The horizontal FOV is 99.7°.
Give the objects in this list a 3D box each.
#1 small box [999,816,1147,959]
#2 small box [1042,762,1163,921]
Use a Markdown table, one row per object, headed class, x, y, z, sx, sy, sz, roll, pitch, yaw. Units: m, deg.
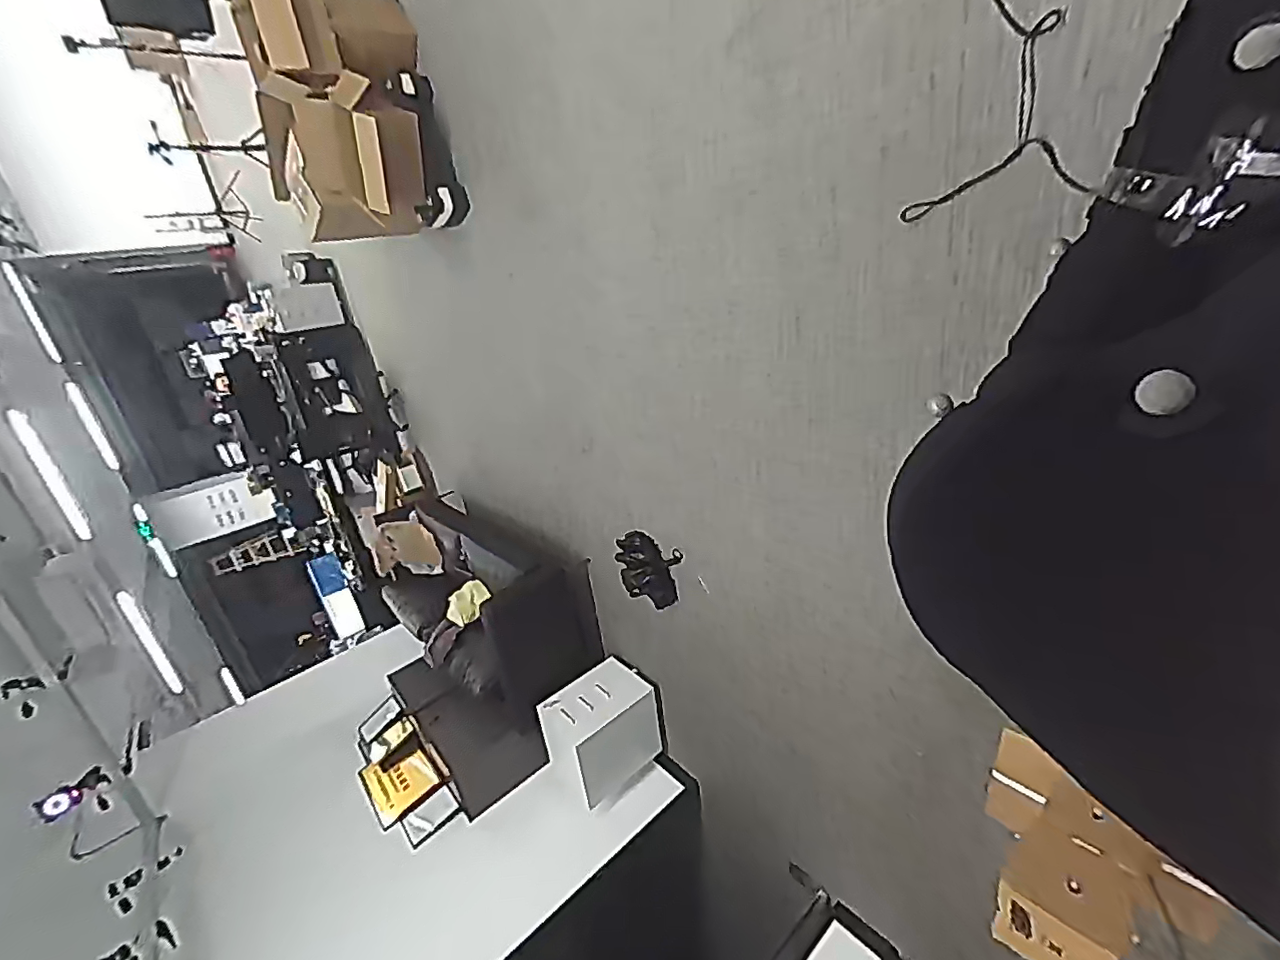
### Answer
| class | x | y | z | sx | sy | sz | roll | pitch | yaw |
| --- | --- | --- | --- | --- | --- | --- | --- | --- | --- |
| small box | 0.821 | 0.788 | 1.031 | 0.179 | 0.176 | 0.168 | 16 | 124 | 47 |
| small box | 0.950 | 0.731 | 1.118 | 0.168 | 0.176 | 0.179 | 13 | 120 | 49 |
